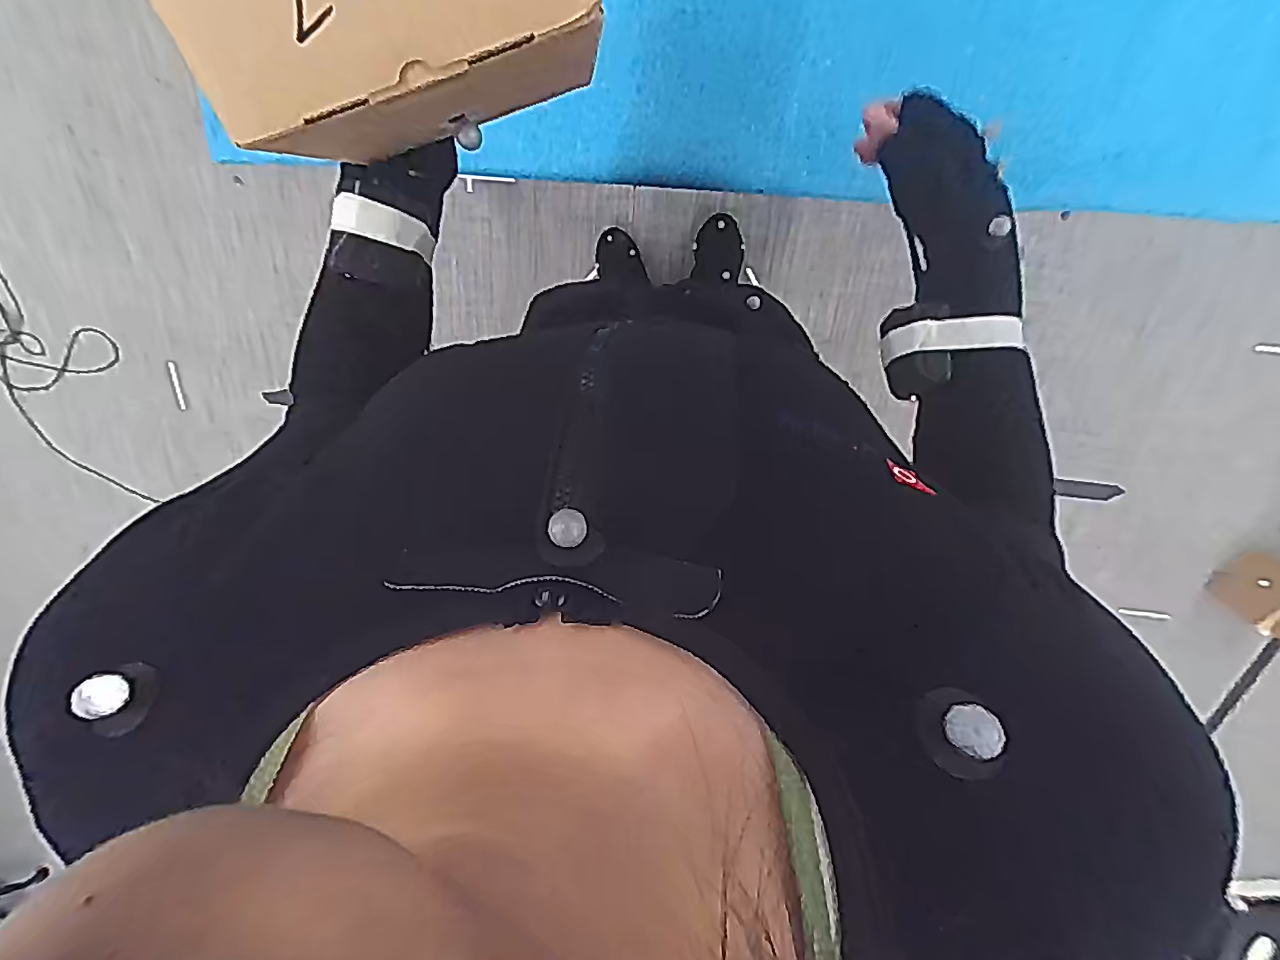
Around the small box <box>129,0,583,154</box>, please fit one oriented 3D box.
[{"bbox_3d":[-0.130,-0.271,0.255,0.168,0.176,0.179,-14,122,2],"label":"small box"}]

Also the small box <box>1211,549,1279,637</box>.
[{"bbox_3d":[1.767,0.318,1.491,0.168,0.176,0.179,20,118,-6],"label":"small box"}]
